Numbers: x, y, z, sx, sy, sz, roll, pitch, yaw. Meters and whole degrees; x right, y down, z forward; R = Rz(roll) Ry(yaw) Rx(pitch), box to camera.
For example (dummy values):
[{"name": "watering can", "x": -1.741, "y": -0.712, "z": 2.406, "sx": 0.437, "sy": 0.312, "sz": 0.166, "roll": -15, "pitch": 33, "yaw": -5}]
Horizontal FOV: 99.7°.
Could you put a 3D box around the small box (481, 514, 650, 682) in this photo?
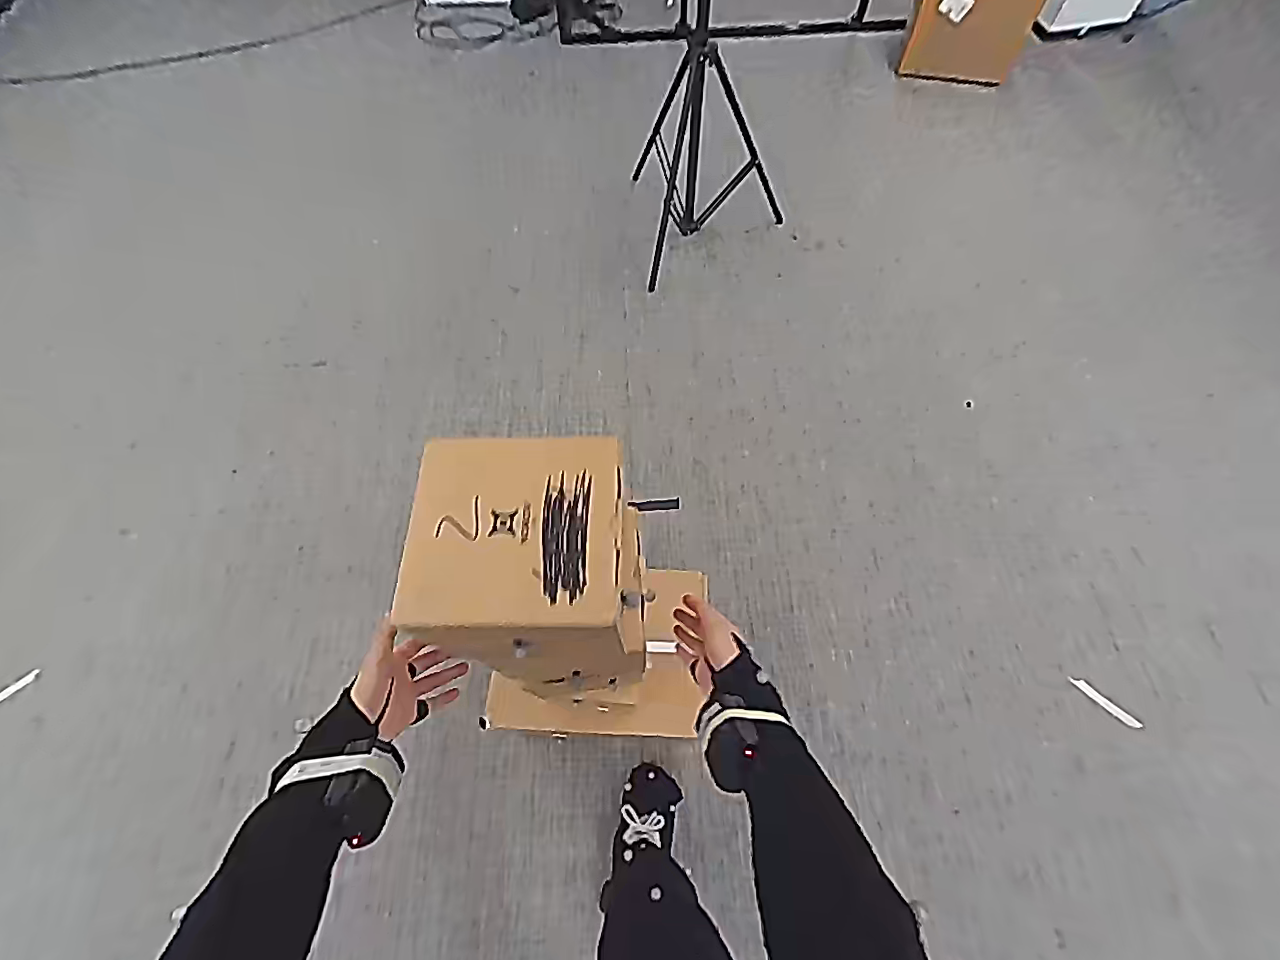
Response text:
[{"name": "small box", "x": -0.083, "y": 0.150, "z": 0.665, "sx": 0.179, "sy": 0.176, "sz": 0.168, "roll": -3, "pitch": 63, "yaw": -2}]

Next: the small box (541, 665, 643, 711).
[{"name": "small box", "x": -0.082, "y": 0.307, "z": 0.951, "sx": 0.179, "sy": 0.176, "sz": 0.168, "roll": 6, "pitch": 64, "yaw": 2}]

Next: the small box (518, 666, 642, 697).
[{"name": "small box", "x": -0.089, "y": 0.221, "z": 0.812, "sx": 0.168, "sy": 0.176, "sz": 0.179, "roll": -8, "pitch": 63, "yaw": -5}]
